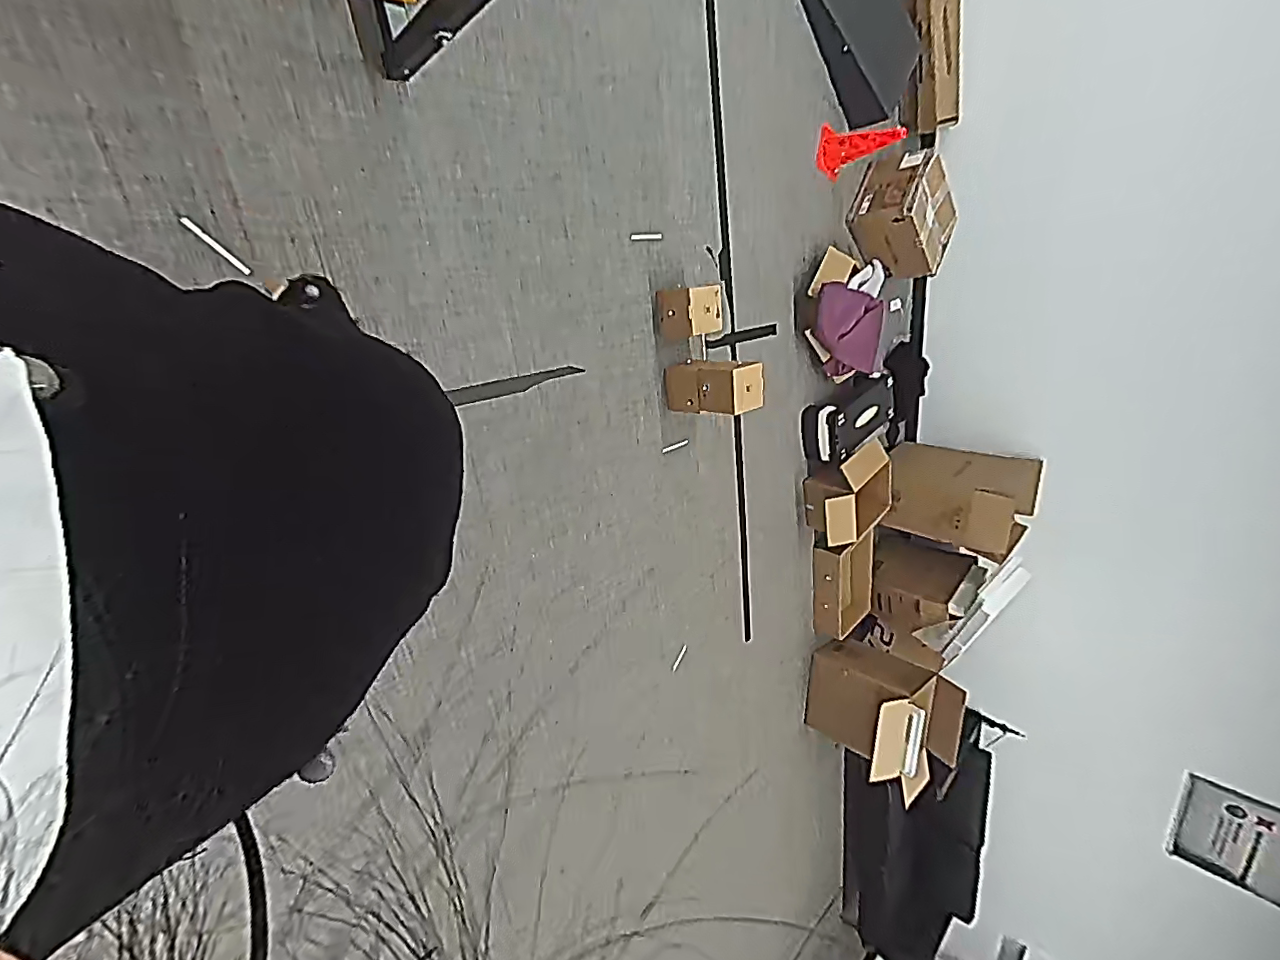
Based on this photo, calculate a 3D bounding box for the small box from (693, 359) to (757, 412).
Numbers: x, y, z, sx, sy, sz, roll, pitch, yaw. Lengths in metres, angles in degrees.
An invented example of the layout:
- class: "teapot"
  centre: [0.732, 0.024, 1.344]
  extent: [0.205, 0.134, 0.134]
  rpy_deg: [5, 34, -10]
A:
- class: "small box"
  centre: [0.318, -0.359, 2.026]
  extent: [0.179, 0.176, 0.168]
  rpy_deg: [-22, 115, -37]

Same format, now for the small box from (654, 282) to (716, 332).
- class: "small box"
  centre: [0.165, -0.648, 2.031]
  extent: [0.179, 0.176, 0.168]
  rpy_deg: [-21, 115, -38]

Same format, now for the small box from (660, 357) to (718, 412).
- class: "small box"
  centre: [0.198, -0.382, 2.135]
  extent: [0.168, 0.176, 0.179]
  rpy_deg: [-25, 118, -38]
